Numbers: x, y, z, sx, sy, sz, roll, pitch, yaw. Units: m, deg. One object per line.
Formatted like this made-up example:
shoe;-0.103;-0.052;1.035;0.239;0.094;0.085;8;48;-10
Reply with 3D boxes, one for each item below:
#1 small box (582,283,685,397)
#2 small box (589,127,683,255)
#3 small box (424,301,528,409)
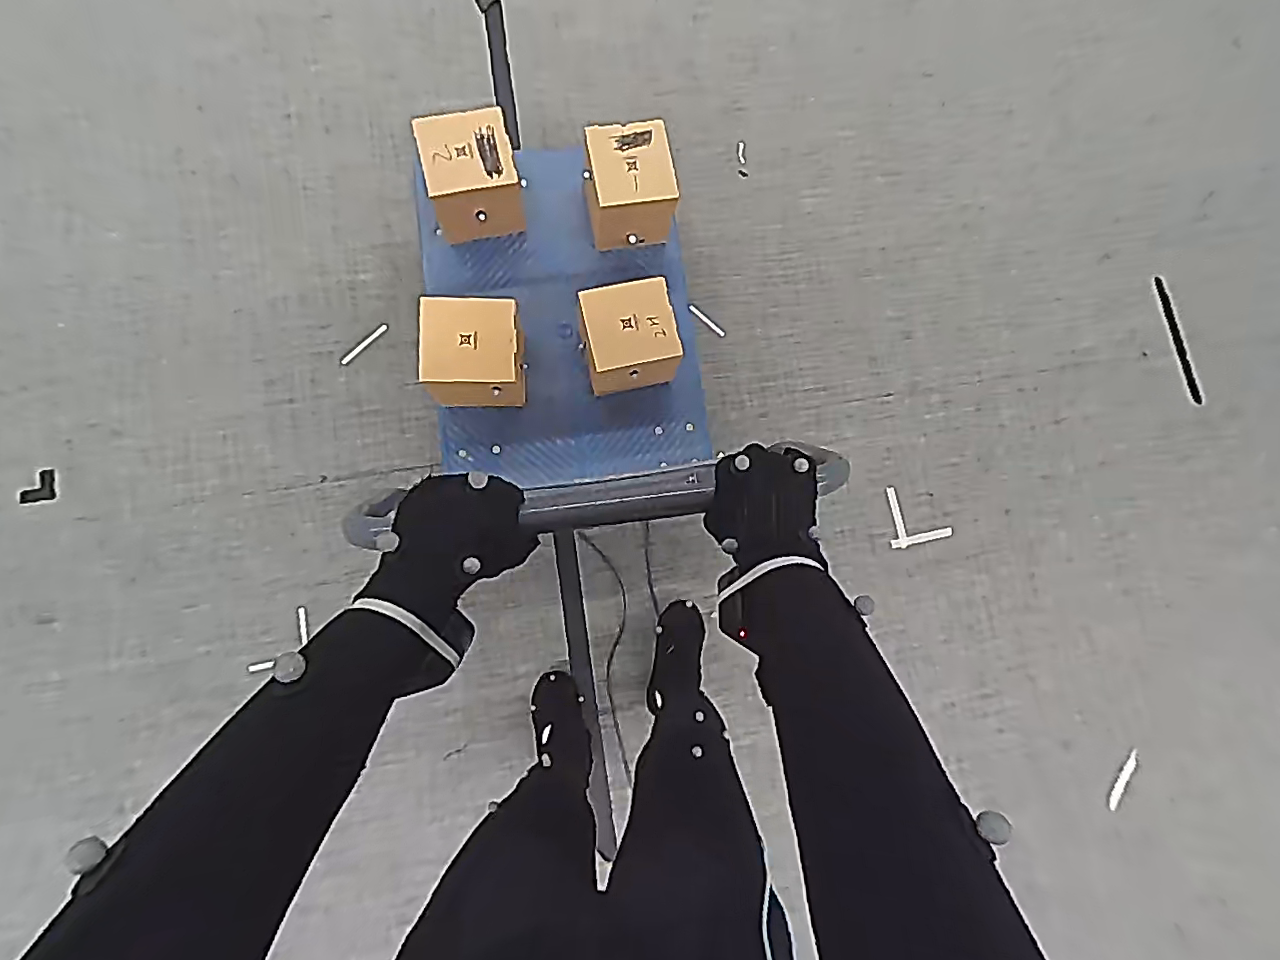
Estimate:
small box;-0.020;-0.283;1.126;0.179;0.176;0.168;-12;85;-7
small box;-0.017;-0.618;1.169;0.168;0.176;0.179;-10;85;-7
small box;-0.321;-0.244;1.089;0.179;0.176;0.168;-1;82;-8
